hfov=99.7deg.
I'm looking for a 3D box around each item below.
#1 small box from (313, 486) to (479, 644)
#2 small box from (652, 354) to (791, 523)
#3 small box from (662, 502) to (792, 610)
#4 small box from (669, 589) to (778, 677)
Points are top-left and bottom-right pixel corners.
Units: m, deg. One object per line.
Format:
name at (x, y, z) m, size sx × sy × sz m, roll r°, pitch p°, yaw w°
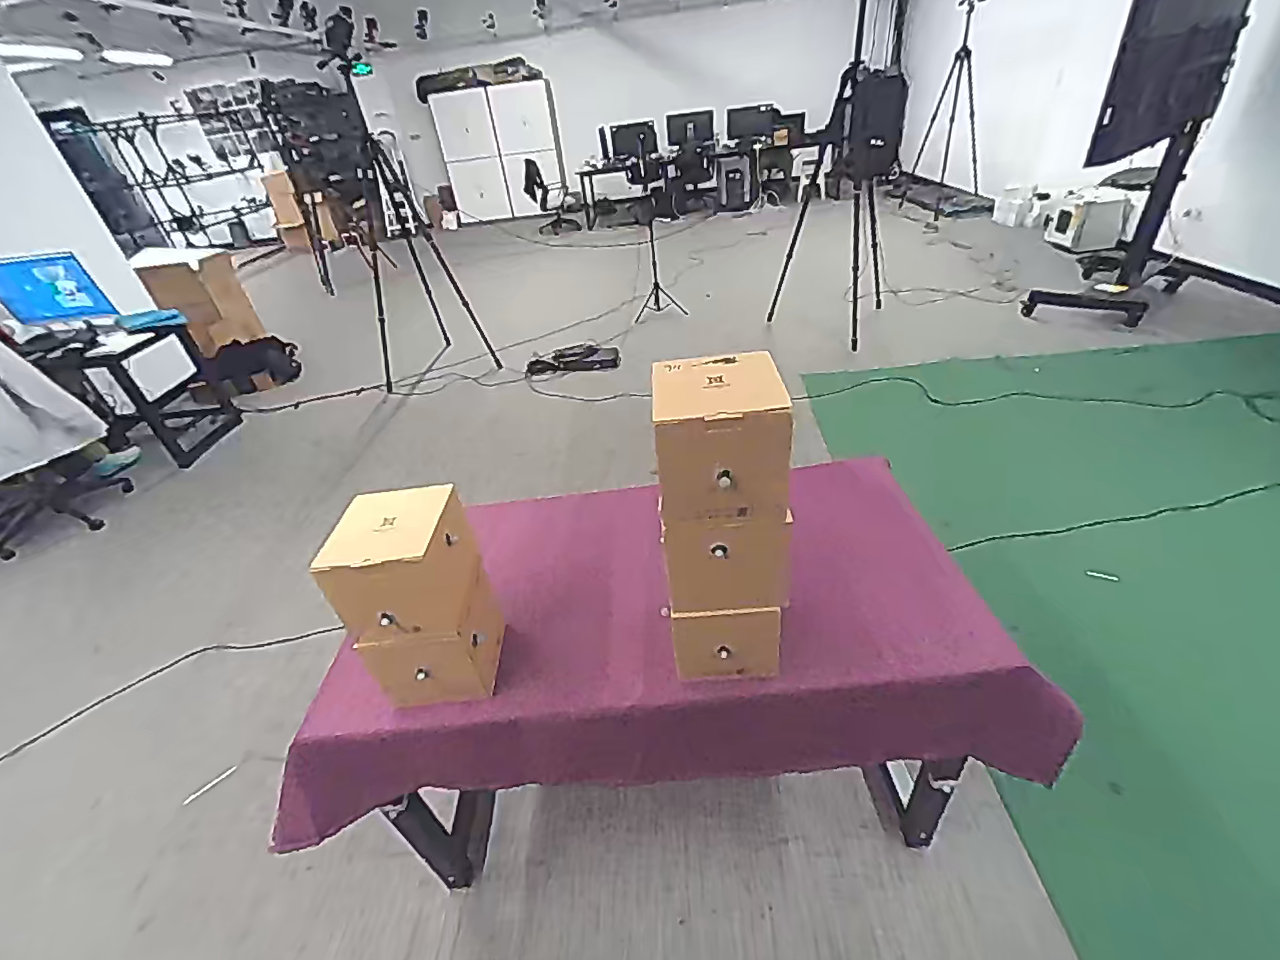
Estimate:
small box at (-0.367, 0.133, 0.857) m, size 0.168 × 0.176 × 0.179 m, roll -7°, pitch 36°, yaw 2°
small box at (0.108, -0.053, 0.741) m, size 0.168 × 0.176 × 0.179 m, roll -4°, pitch 36°, yaw 5°
small box at (0.127, 0.084, 0.829) m, size 0.179 × 0.176 × 0.168 m, roll -4°, pitch 36°, yaw 4°
small box at (0.138, 0.220, 0.923) m, size 0.168 × 0.176 × 0.179 m, roll -4°, pitch 35°, yaw 4°
